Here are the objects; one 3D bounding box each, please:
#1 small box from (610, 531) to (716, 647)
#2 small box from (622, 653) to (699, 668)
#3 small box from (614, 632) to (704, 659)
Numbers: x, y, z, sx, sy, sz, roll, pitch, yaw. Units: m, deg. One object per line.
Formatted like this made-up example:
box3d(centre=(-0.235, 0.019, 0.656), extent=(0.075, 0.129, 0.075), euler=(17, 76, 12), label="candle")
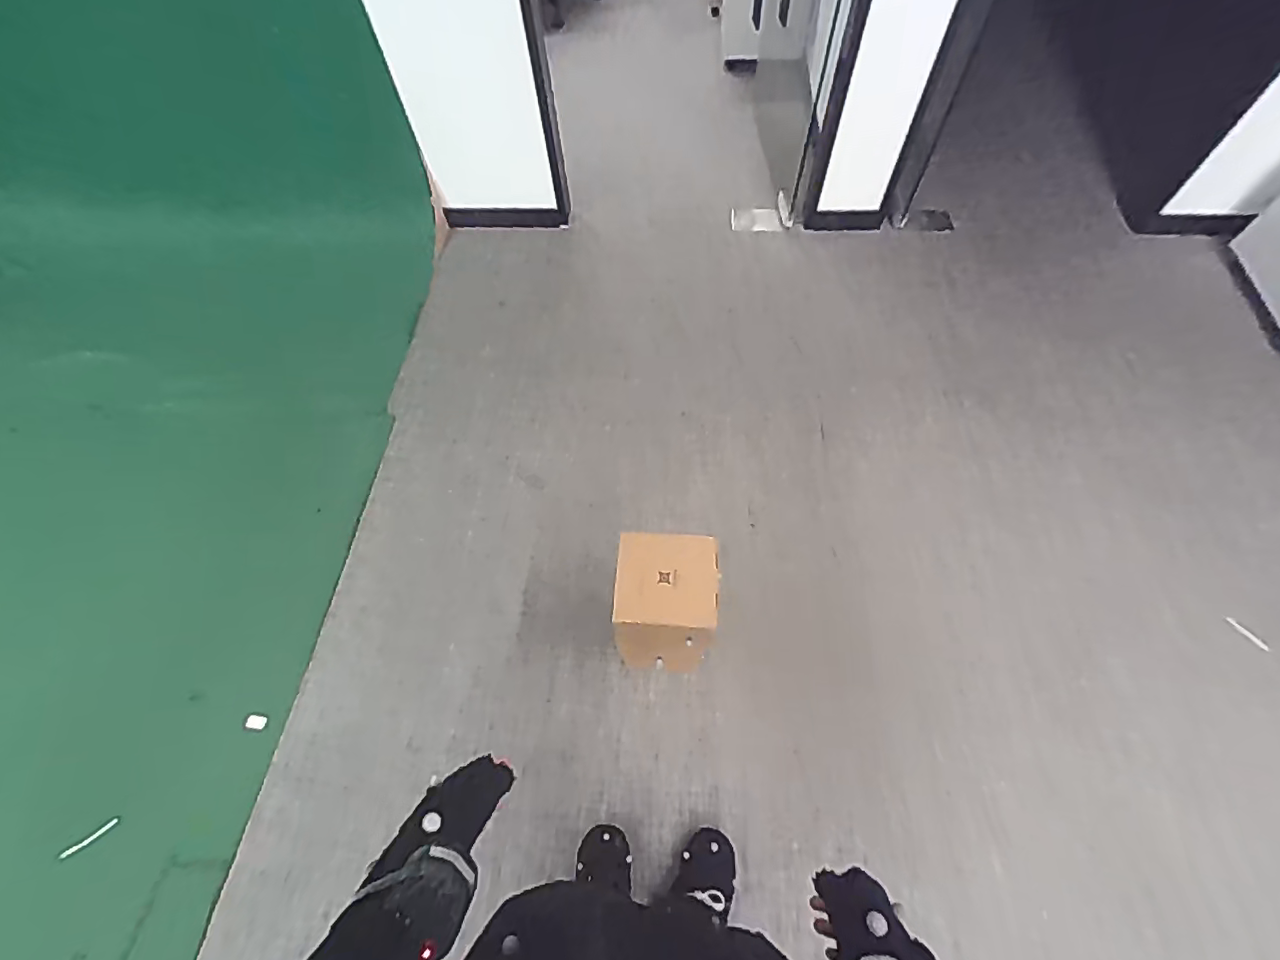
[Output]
box3d(centre=(0.046, 0.205, 0.999), extent=(0.179, 0.176, 0.168), euler=(1, 60, 5), label="small box")
box3d(centre=(0.053, 0.348, 1.293), extent=(0.179, 0.176, 0.168), euler=(2, 61, 5), label="small box")
box3d(centre=(0.044, 0.281, 1.147), extent=(0.179, 0.176, 0.168), euler=(1, 63, 4), label="small box")
